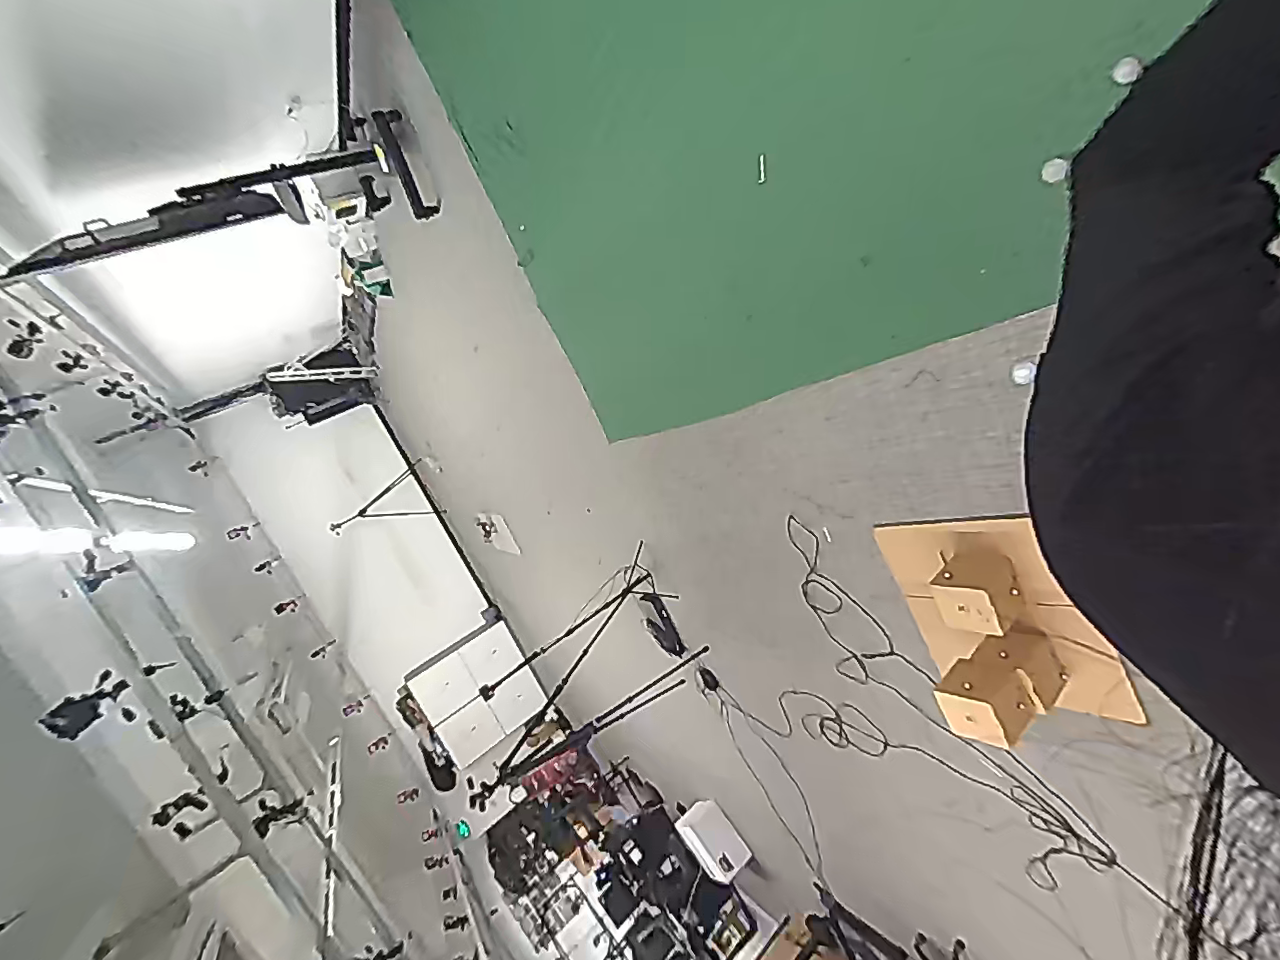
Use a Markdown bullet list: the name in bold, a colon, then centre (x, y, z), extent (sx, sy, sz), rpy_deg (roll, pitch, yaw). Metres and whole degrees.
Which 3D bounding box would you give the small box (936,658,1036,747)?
- **small box**: centre (1.048, 0.665, 1.640), extent (0.168, 0.176, 0.179), rpy_deg (62, 152, -7)

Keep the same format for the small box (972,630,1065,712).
- **small box**: centre (1.186, 0.589, 1.690), extent (0.168, 0.176, 0.179), rpy_deg (60, 153, -5)

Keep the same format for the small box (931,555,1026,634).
- **small box**: centre (1.049, 0.346, 1.674), extent (0.179, 0.176, 0.168), rpy_deg (-8, 112, 60)
